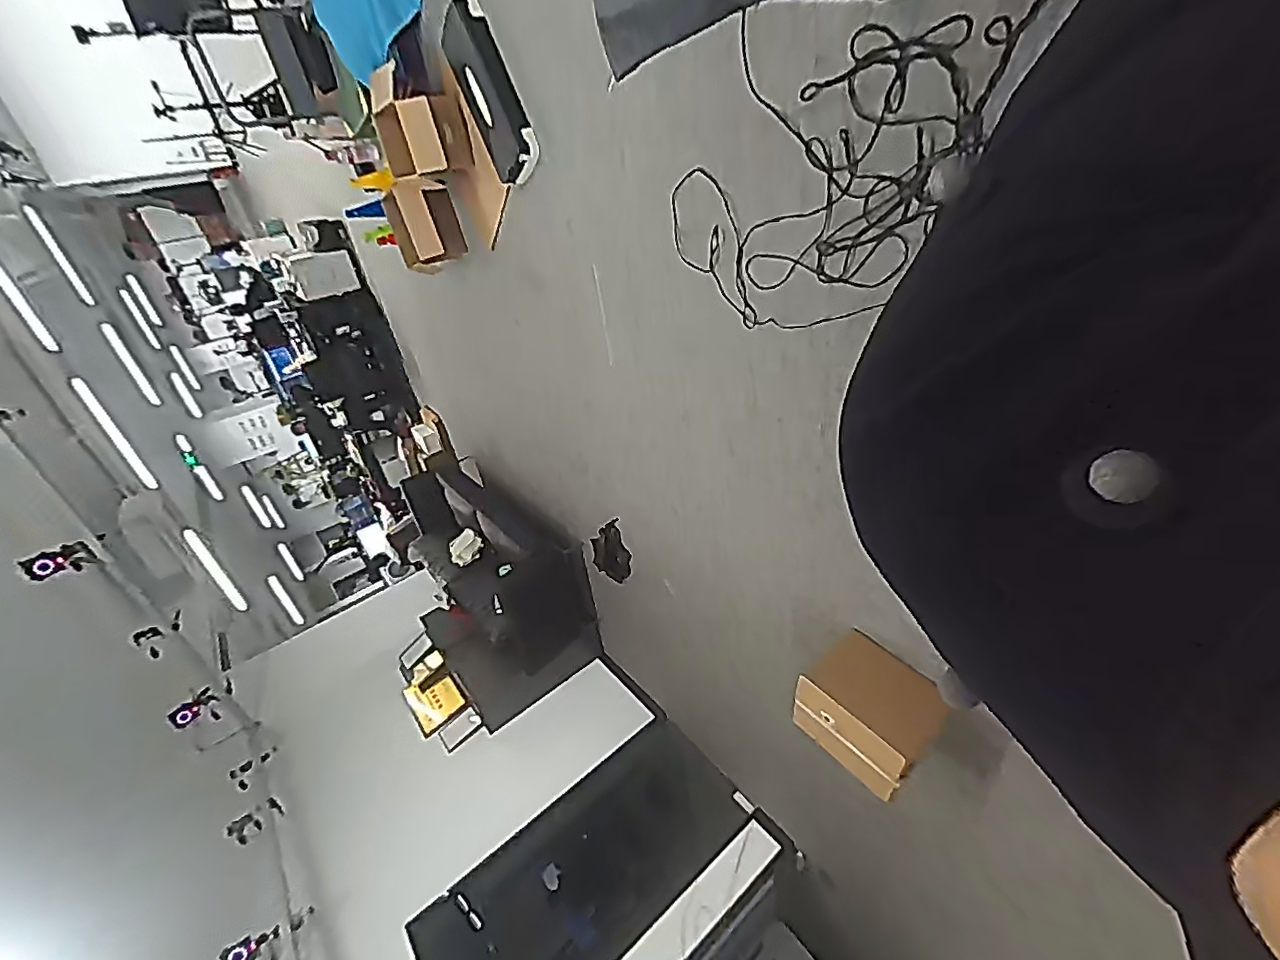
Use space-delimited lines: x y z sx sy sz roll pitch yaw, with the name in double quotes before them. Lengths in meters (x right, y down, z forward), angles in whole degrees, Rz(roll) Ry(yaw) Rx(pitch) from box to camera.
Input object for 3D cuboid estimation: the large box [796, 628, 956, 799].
"large box" 0.830 0.819 1.939 0.408 0.320 0.320 35 142 41
